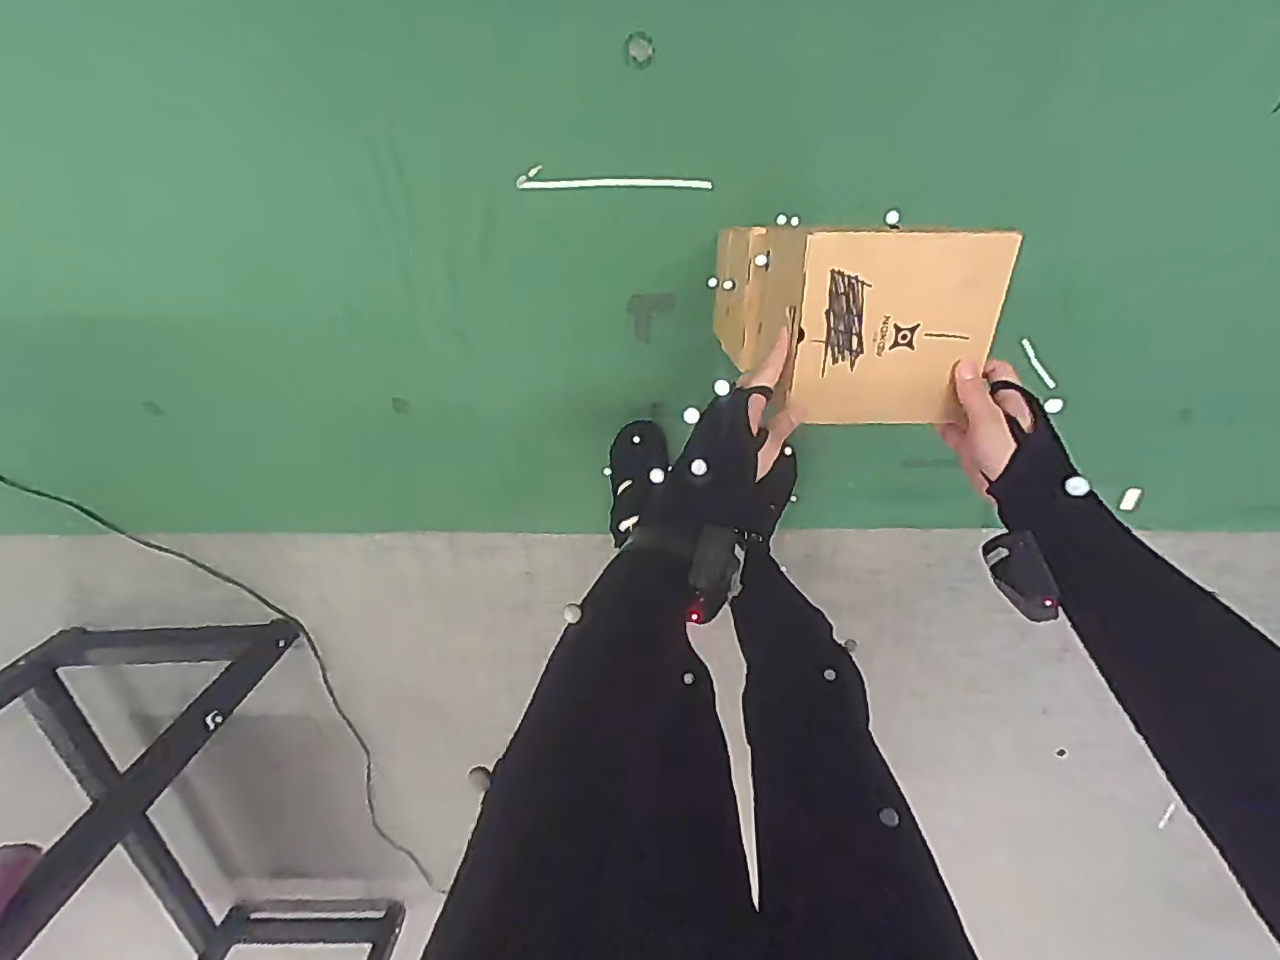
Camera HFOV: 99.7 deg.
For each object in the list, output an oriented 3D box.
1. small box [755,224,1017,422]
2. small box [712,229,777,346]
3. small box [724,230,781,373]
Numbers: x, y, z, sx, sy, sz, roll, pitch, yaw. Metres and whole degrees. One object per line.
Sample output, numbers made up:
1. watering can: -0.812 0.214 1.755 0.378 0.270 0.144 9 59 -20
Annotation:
1. small box: 0.220 -0.164 0.546 0.179 0.176 0.168 0 117 -1
2. small box: 0.217 -0.309 0.865 0.179 0.176 0.168 1 114 0
3. small box: 0.214 -0.241 0.718 0.179 0.176 0.168 1 114 2
